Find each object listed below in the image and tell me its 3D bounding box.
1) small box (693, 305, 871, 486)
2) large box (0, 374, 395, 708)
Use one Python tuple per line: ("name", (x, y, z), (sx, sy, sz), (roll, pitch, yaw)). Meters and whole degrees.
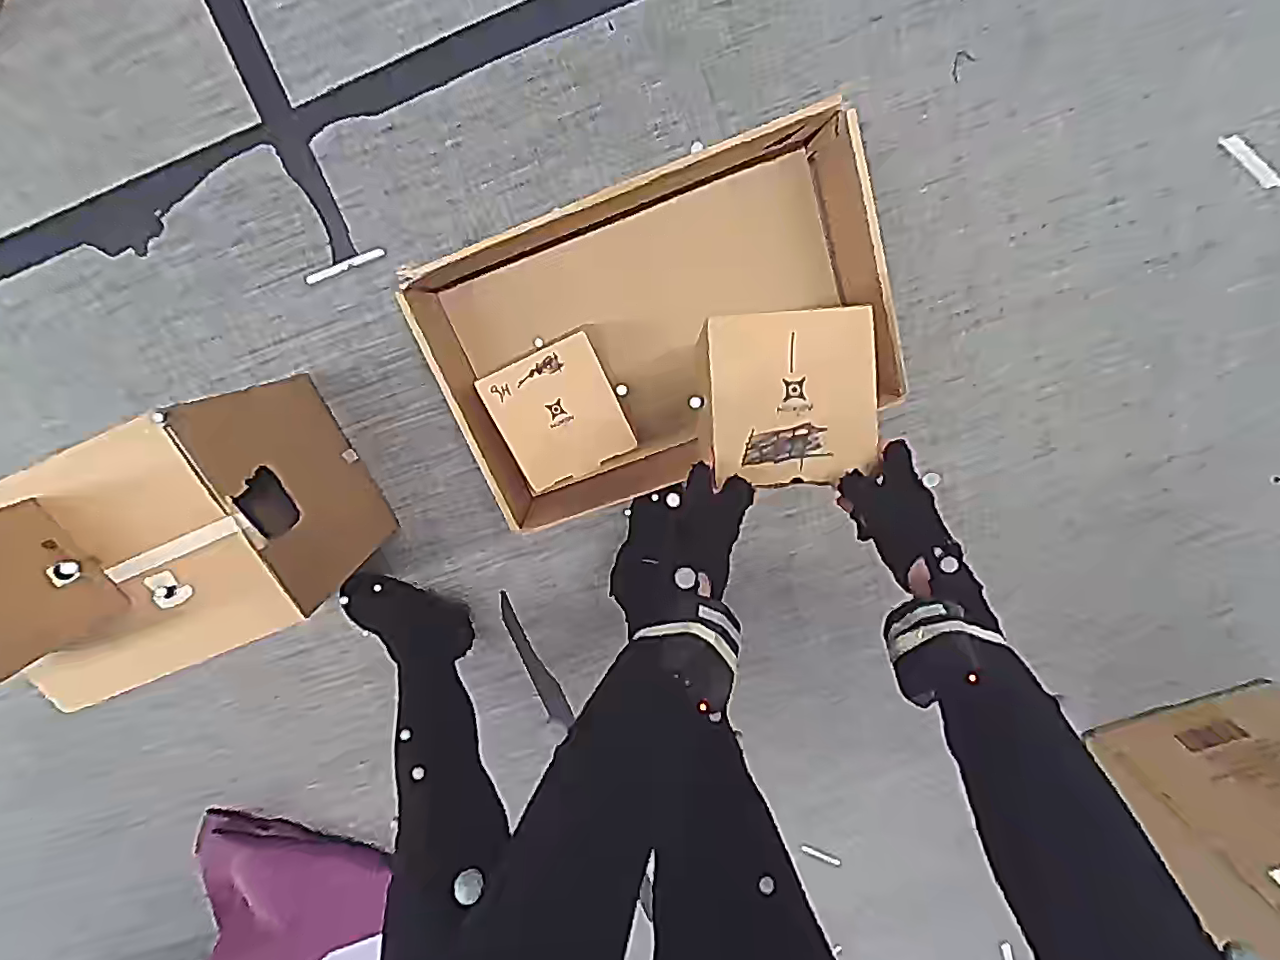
("small box", (0.151, -0.089, 0.623), (0.168, 0.176, 0.179), (-3, 92, 1))
("large box", (-0.687, 0.070, 0.842), (0.408, 0.320, 0.320), (-23, 109, 5))
